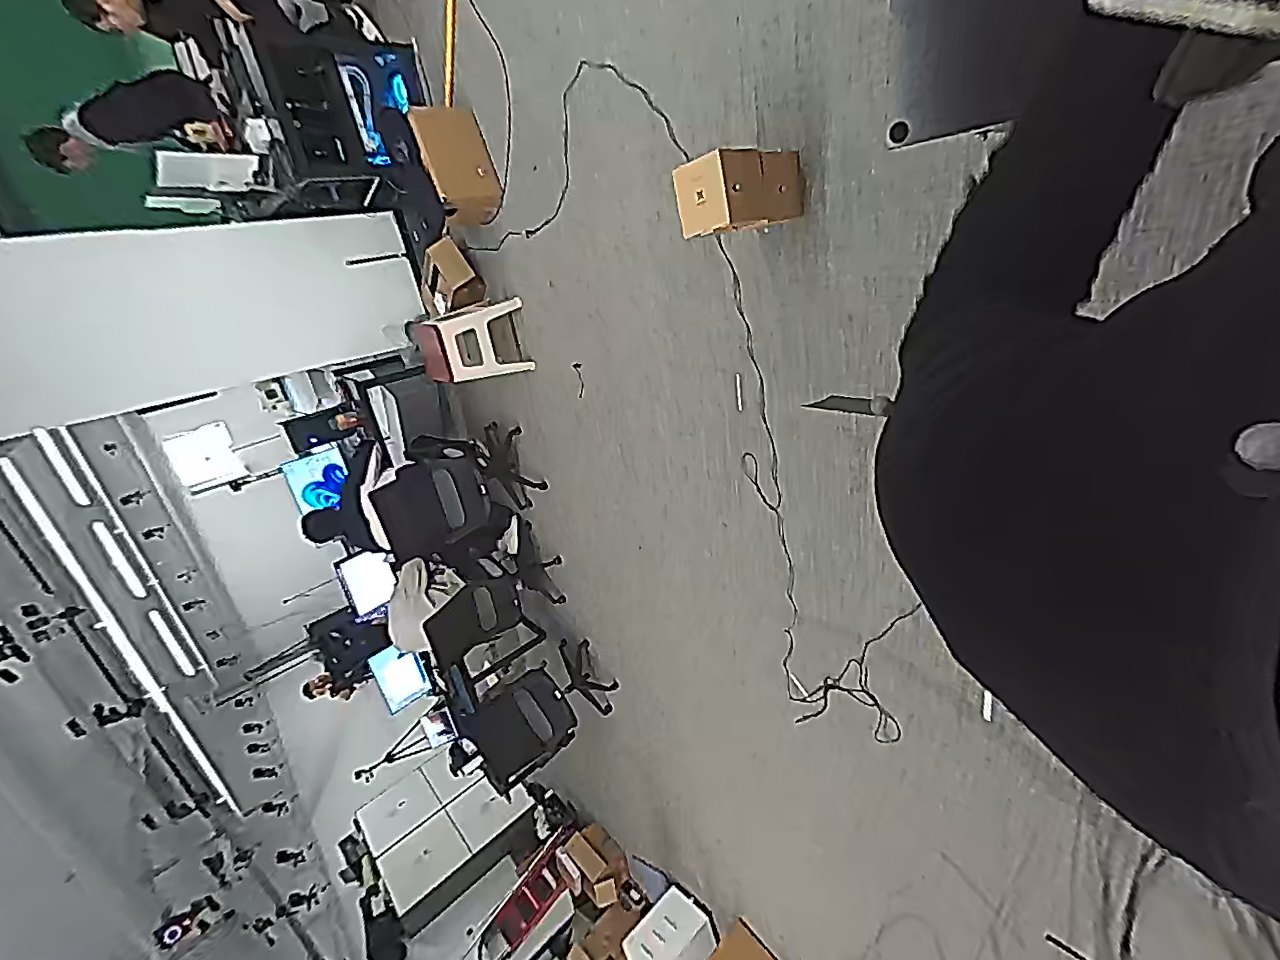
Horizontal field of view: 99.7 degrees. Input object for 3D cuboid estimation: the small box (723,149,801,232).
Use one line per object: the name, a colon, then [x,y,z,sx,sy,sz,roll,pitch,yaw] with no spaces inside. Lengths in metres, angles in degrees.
small box: [0.337,-0.817,1.531,0.168,0.176,0.179,13,122,48]

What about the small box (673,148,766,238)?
small box: [0.216,-0.762,1.438,0.168,0.176,0.179,8,117,49]
